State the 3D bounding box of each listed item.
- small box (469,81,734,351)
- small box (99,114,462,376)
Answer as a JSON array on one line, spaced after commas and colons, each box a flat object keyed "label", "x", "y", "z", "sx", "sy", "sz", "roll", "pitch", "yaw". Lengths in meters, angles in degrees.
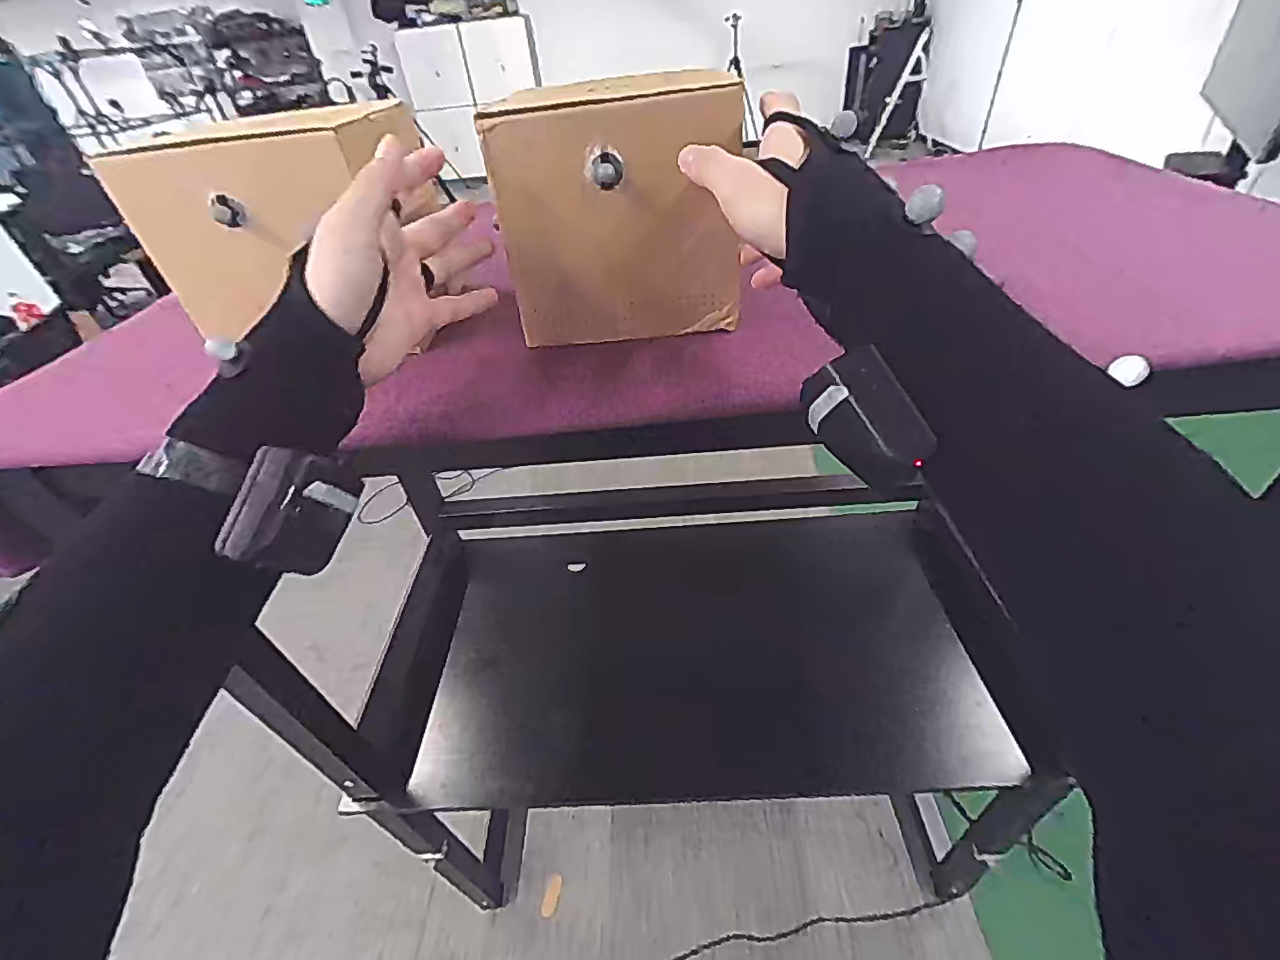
[{"label": "small box", "x": -0.017, "y": -0.219, "z": 0.456, "sx": 0.179, "sy": 0.176, "sz": 0.168, "roll": -4, "pitch": 39, "yaw": 4}, {"label": "small box", "x": -0.283, "y": -0.205, "z": 0.480, "sx": 0.179, "sy": 0.176, "sz": 0.168, "roll": -6, "pitch": 41, "yaw": 3}]
